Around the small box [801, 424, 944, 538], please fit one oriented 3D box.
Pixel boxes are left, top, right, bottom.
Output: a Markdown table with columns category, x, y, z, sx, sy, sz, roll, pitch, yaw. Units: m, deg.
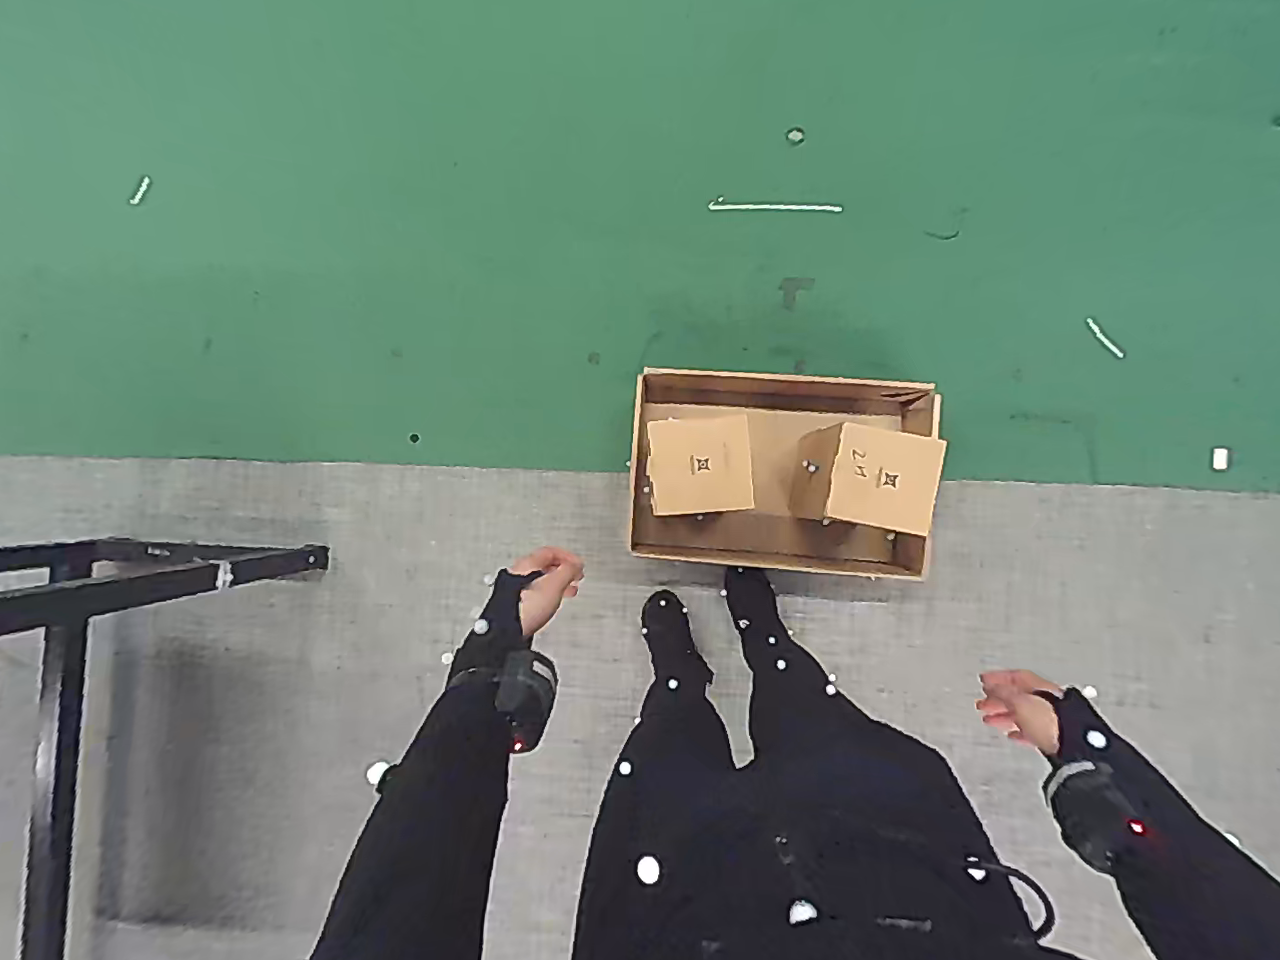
| category | x | y | z | sx | sy | sz | roll | pitch | yaw |
| --- | --- | --- | --- | --- | --- | --- | --- | --- | --- |
| small box | 0.413 | 0.002 | 0.988 | 0.179 | 0.176 | 0.168 | 12 | 90 | 4 |

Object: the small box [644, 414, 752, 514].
| category | x | y | z | sx | sy | sz | roll | pitch | yaw |
| --- | --- | --- | --- | --- | --- | --- | --- | --- | --- |
| small box | 0.102 | -0.026 | 1.001 | 0.179 | 0.176 | 0.168 | -4 | 90 | 0 |

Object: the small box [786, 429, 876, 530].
| category | x | y | z | sx | sy | sz | roll | pitch | yaw |
| --- | --- | --- | --- | --- | --- | --- | --- | --- | --- |
| small box | 0.421 | -0.001 | 1.153 | 0.168 | 0.176 | 0.179 | 12 | 91 | 3 |
